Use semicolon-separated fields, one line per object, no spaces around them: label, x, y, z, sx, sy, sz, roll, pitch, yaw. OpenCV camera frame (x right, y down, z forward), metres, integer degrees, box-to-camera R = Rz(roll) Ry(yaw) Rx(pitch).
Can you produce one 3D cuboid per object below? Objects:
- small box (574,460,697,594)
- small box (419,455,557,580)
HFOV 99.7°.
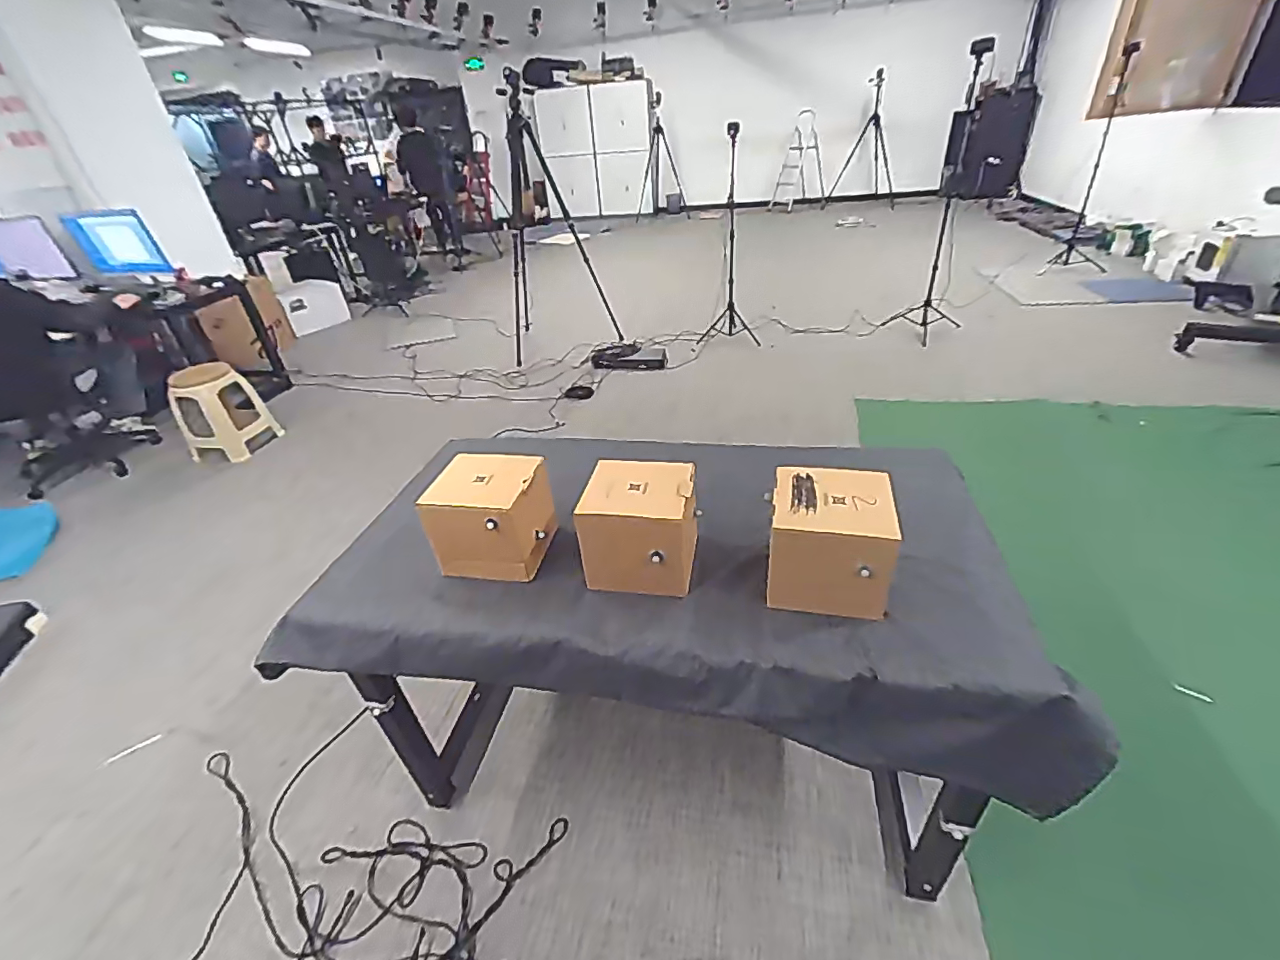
small box;0.003;0.081;0.941;0.179;0.176;0.168;1;33;13
small box;-0.270;0.068;1.003;0.179;0.176;0.168;2;34;11
